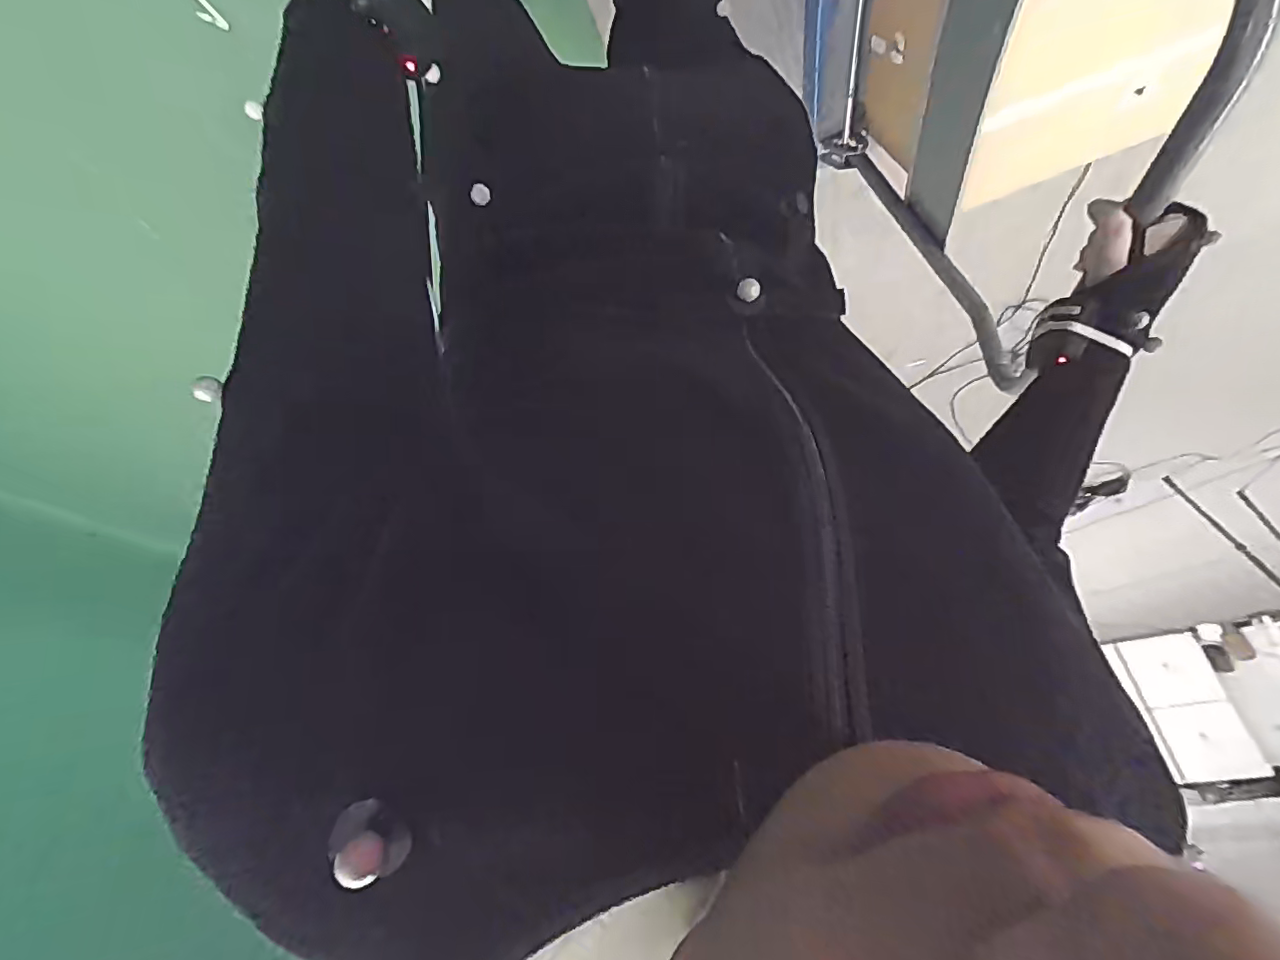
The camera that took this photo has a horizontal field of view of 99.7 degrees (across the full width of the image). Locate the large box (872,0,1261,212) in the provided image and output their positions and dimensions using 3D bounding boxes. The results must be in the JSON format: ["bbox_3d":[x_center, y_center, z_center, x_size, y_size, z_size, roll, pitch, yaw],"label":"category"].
[{"bbox_3d":[0.636,-0.713,0.849,0.408,0.320,0.320,-21,149,4],"label":"large box"}]
